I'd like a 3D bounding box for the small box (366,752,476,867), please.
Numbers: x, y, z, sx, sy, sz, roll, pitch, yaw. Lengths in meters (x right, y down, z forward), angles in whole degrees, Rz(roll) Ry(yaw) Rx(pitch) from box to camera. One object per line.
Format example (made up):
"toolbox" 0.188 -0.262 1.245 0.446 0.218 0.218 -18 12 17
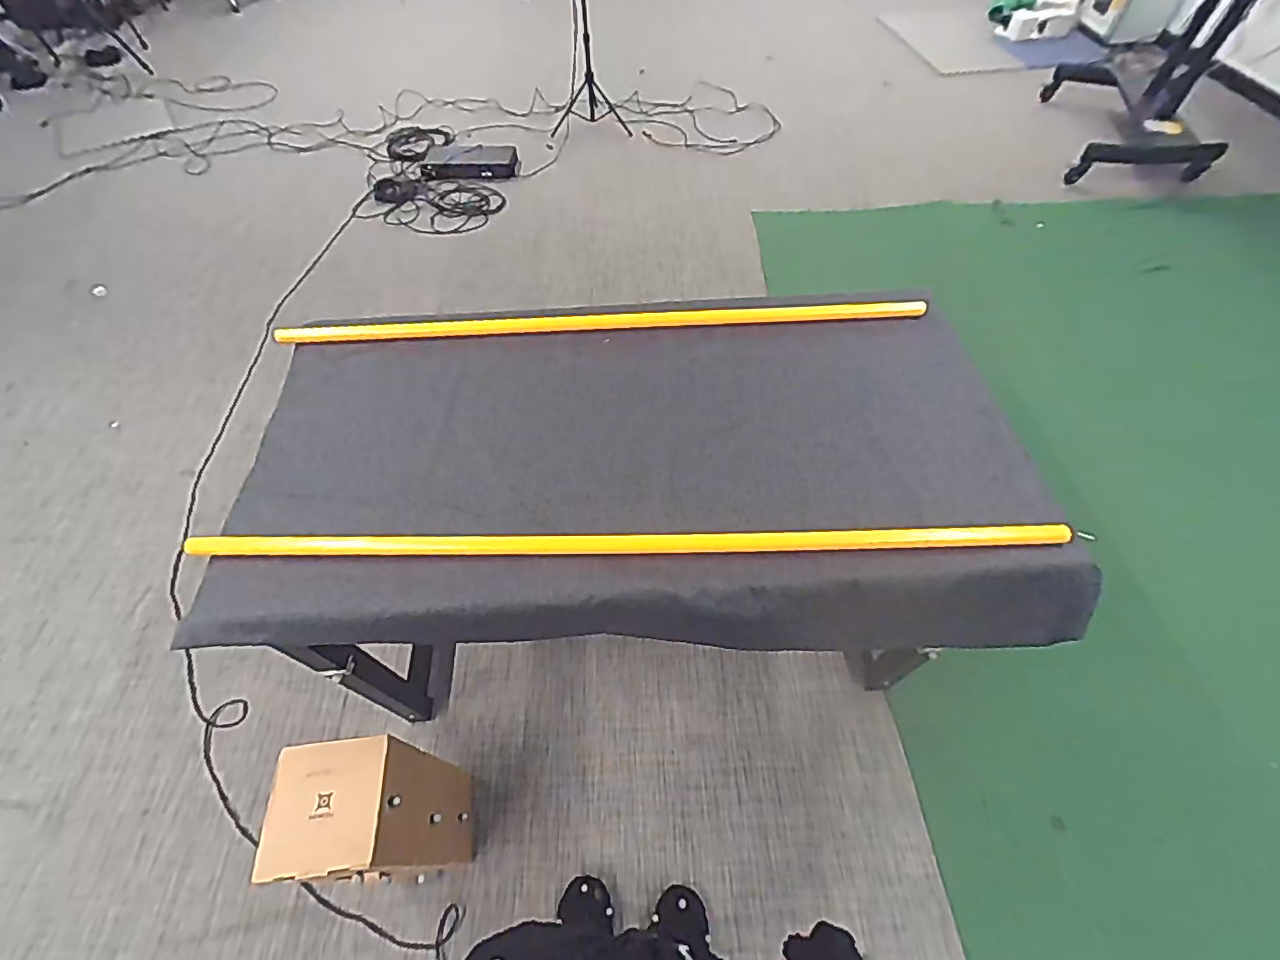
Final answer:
"small box" -0.451 0.695 1.140 0.168 0.176 0.179 -9 57 -5
